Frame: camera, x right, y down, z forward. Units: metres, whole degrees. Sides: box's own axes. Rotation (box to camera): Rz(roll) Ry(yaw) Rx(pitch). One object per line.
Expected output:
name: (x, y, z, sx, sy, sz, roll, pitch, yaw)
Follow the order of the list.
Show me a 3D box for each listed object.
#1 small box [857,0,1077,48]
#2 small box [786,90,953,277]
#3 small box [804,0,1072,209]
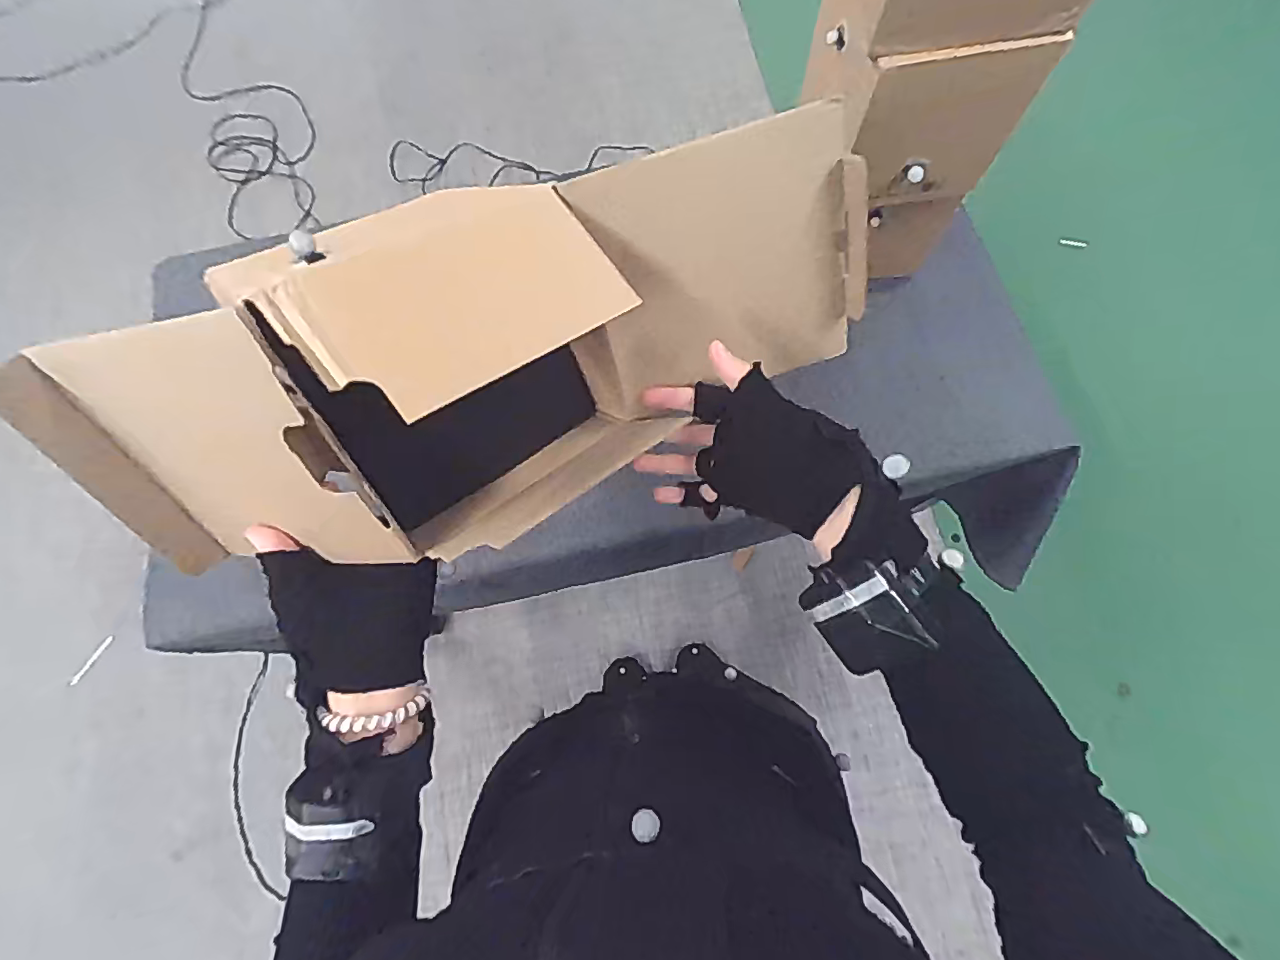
small box: (0.265, -0.466, 0.403, 0.179, 0.176, 0.168, -5, 74, 3)
small box: (0.296, -0.389, 0.719, 0.179, 0.176, 0.168, -1, 74, 3)
small box: (0.280, -0.418, 0.558, 0.168, 0.176, 0.179, -7, 74, 2)
